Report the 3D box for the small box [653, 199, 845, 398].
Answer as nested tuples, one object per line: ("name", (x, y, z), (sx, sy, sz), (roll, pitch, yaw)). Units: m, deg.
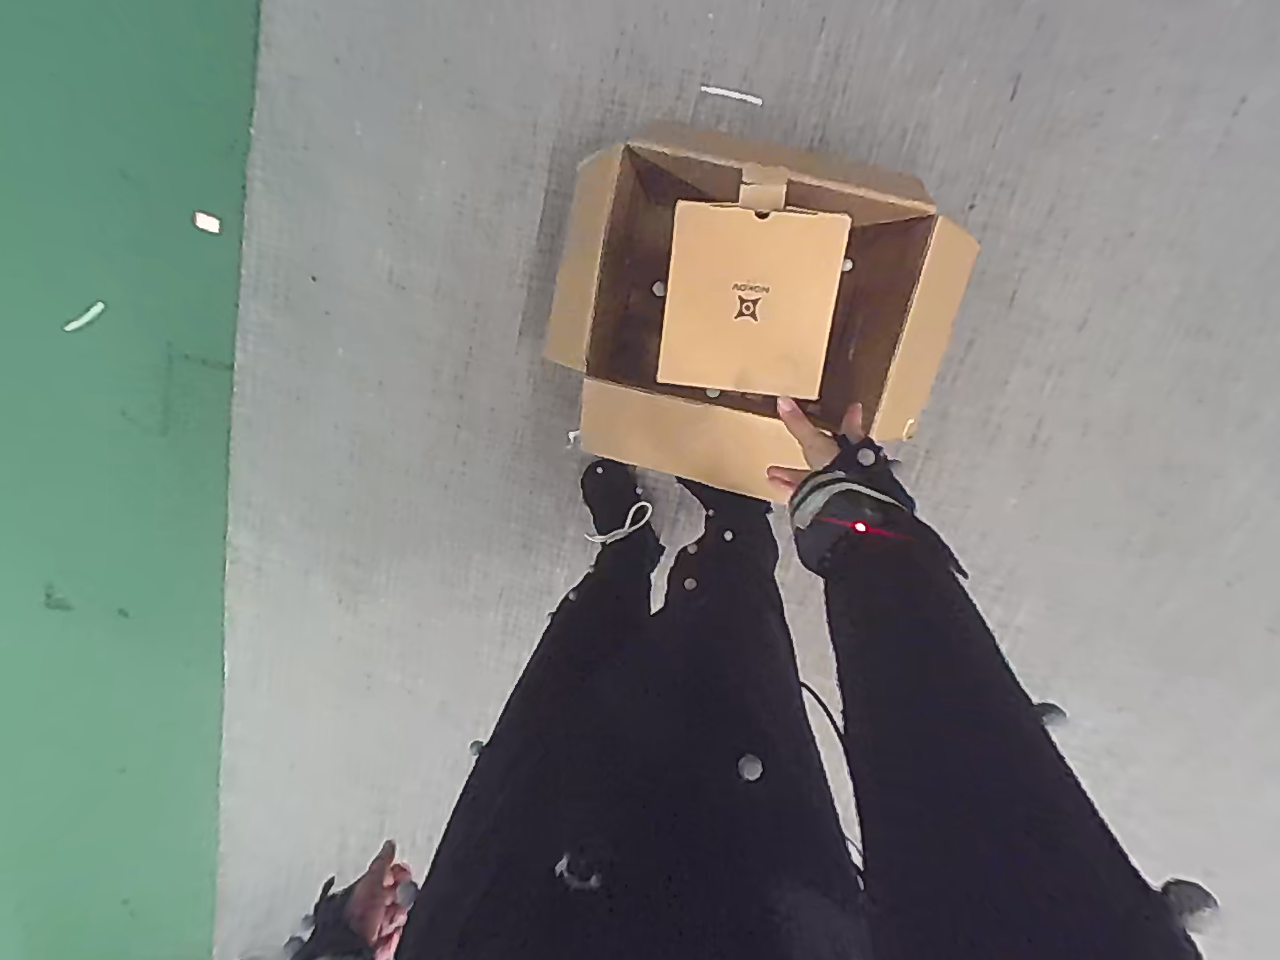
("small box", (0.113, -0.194, 0.608), (0.168, 0.176, 0.179), (7, 103, 6))
